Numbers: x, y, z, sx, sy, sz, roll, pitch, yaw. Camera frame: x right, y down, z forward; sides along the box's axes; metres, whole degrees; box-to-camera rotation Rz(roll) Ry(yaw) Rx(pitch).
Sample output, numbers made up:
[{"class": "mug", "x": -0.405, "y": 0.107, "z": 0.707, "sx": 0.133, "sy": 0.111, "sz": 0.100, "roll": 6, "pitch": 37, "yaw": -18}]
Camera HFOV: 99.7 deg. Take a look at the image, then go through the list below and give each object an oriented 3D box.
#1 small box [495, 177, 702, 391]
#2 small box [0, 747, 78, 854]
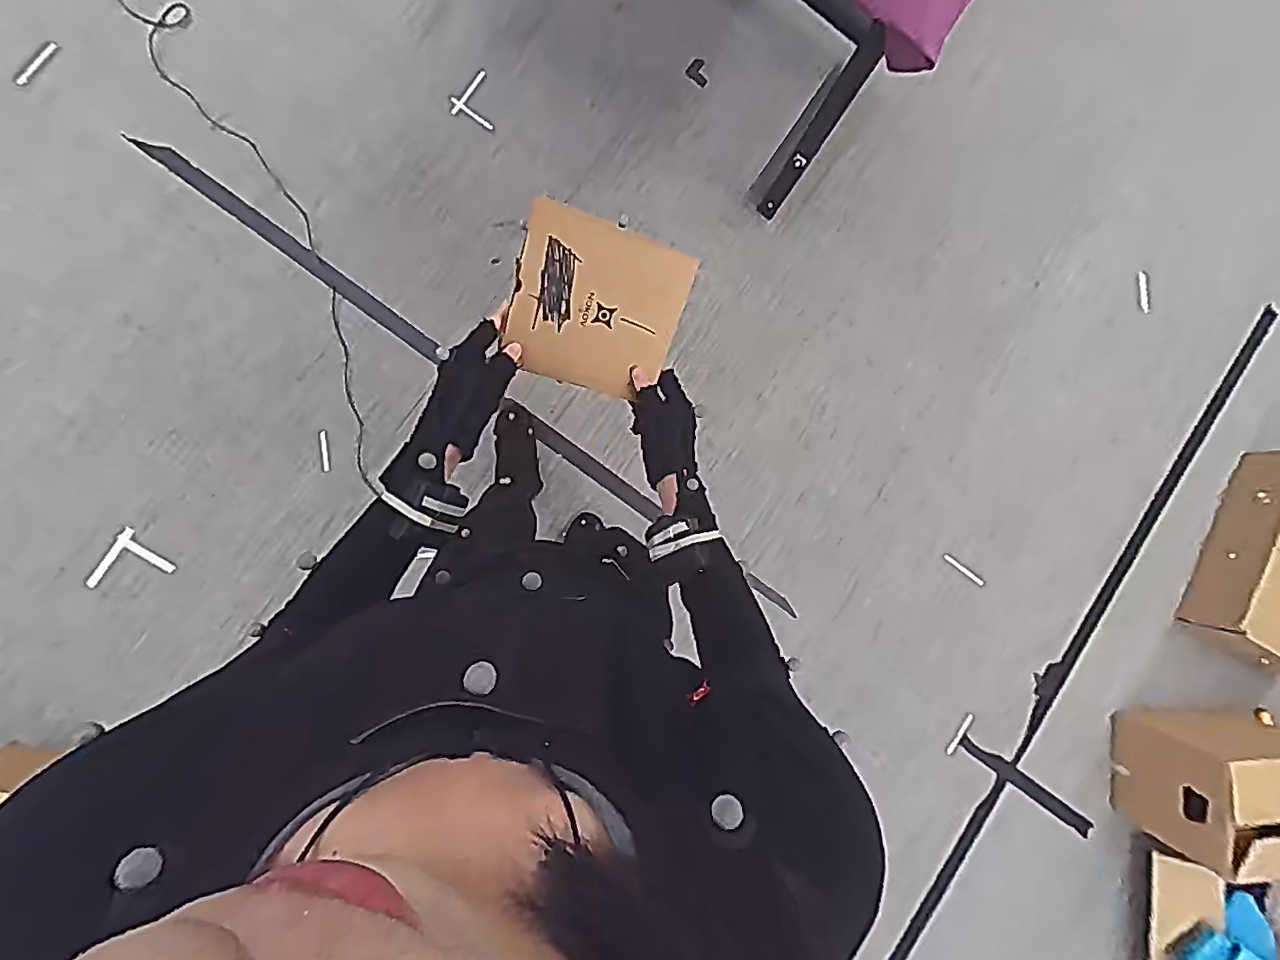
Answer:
[{"class": "small box", "x": -0.055, "y": -0.222, "z": 0.621, "sx": 0.179, "sy": 0.176, "sz": 0.168, "roll": 14, "pitch": 112, "yaw": -16}, {"class": "small box", "x": -1.500, "y": 0.751, "z": 1.260, "sx": 0.179, "sy": 0.176, "sz": 0.168, "roll": 17, "pitch": 87, "yaw": -6}]
